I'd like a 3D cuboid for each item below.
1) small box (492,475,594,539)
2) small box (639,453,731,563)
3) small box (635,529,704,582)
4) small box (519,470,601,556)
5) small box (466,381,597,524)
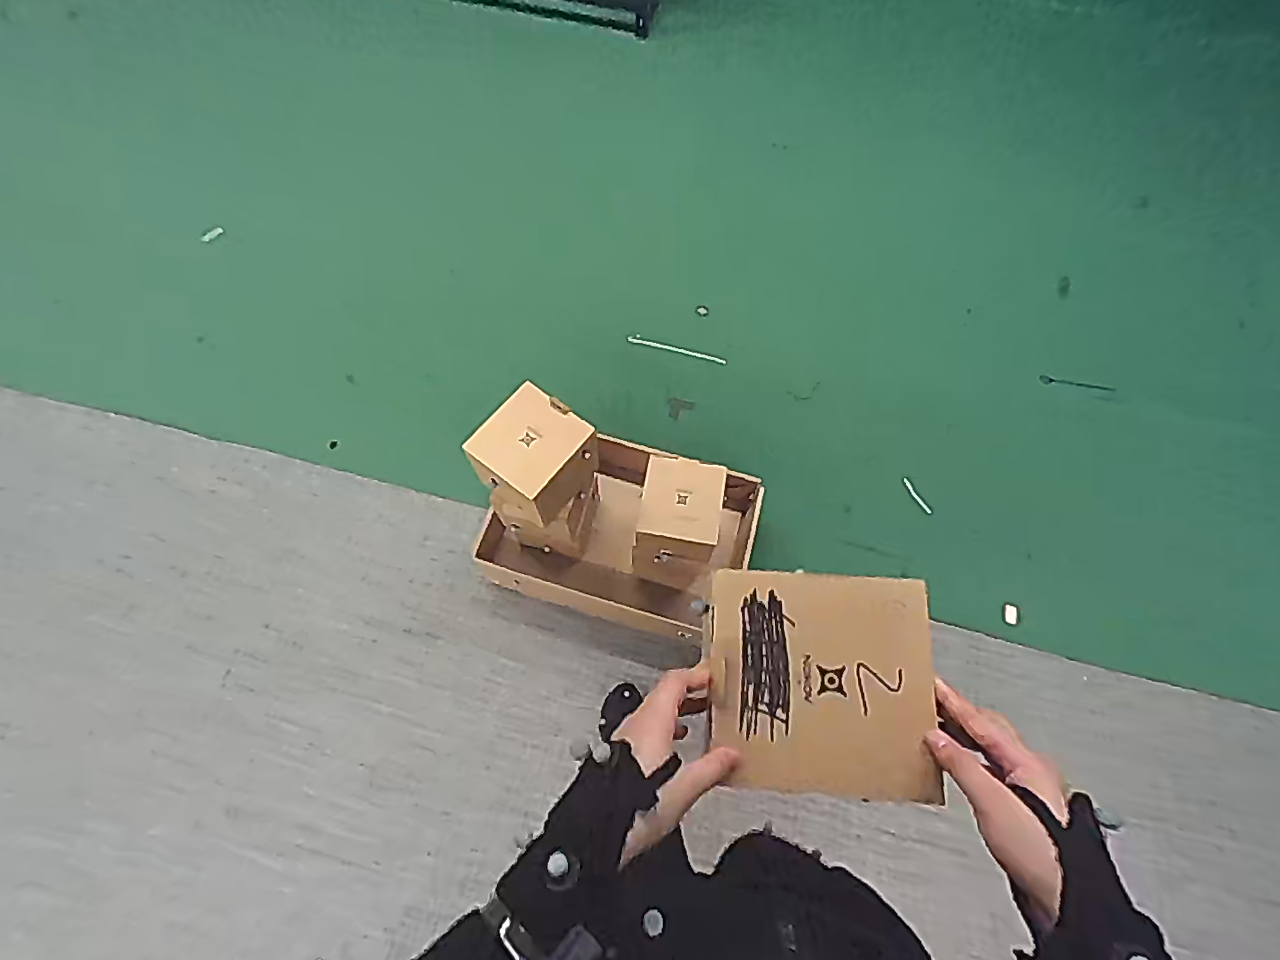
[{"bbox_3d":[-0.198,0.011,1.173,0.168,0.176,0.179,15,67,3],"label":"small box"},{"bbox_3d":[0.092,0.065,1.165,0.168,0.176,0.179,10,69,4],"label":"small box"},{"bbox_3d":[0.090,0.127,1.316,0.168,0.176,0.179,19,68,7],"label":"small box"},{"bbox_3d":[-0.197,0.066,1.327,0.168,0.176,0.179,14,67,4],"label":"small box"},{"bbox_3d":[-0.191,-0.044,1.020,0.168,0.176,0.179,36,70,12],"label":"small box"}]
